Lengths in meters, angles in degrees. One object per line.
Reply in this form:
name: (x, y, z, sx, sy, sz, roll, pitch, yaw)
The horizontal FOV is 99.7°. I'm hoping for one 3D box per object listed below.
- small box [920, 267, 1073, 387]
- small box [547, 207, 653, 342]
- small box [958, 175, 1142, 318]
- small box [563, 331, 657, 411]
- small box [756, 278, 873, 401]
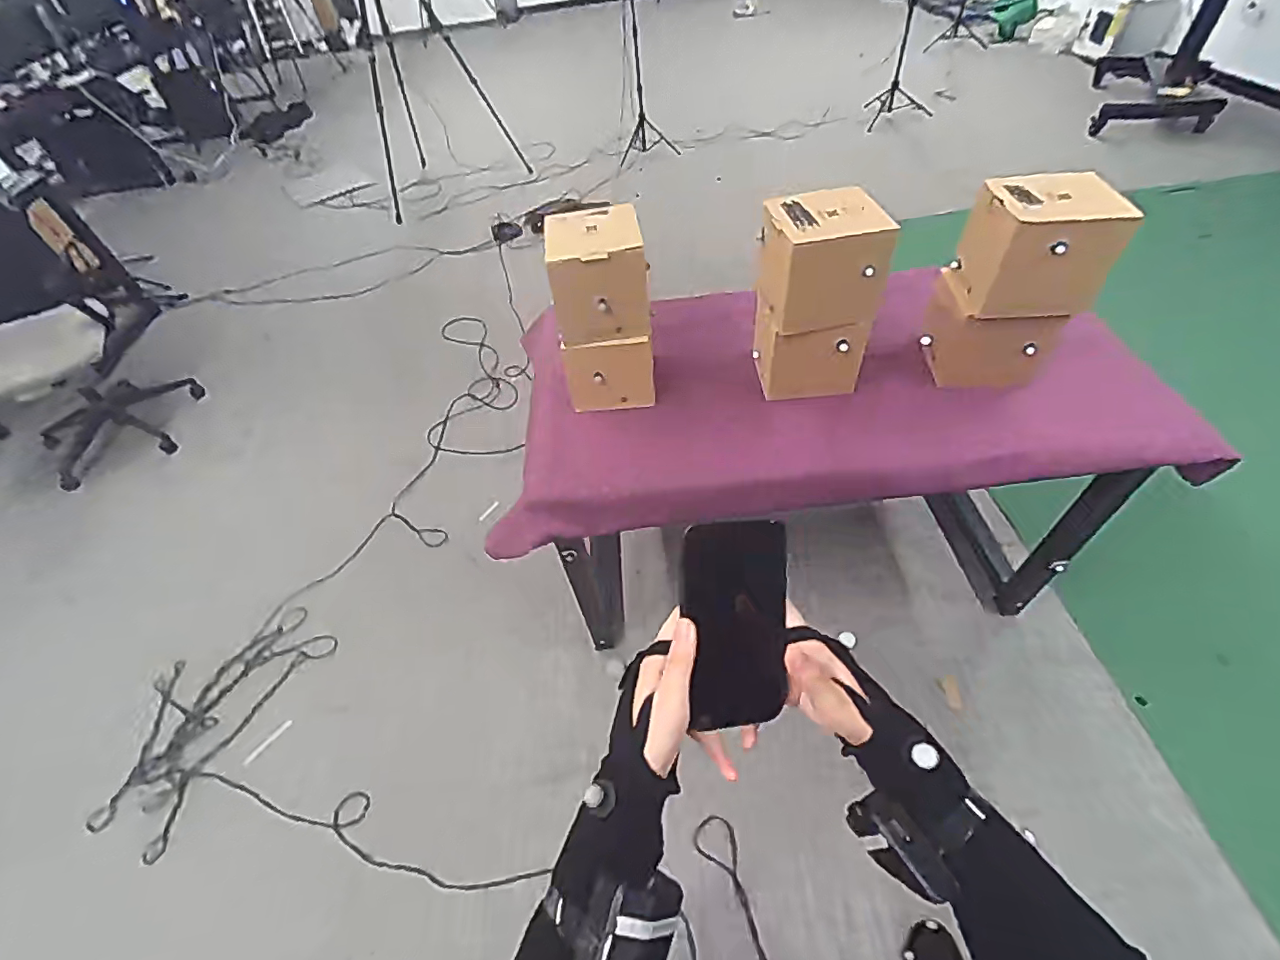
small box: (0.673, -0.294, 1.047, 0.179, 0.176, 0.168, 0, 49, 8)
small box: (-0.071, -0.368, 0.993, 0.168, 0.176, 0.179, -8, 50, 0)
small box: (0.666, -0.389, 0.913, 0.179, 0.176, 0.168, 0, 49, 7)
small box: (-0.054, -0.256, 1.112, 0.168, 0.176, 0.179, -5, 49, 4)
small box: (0.334, -0.276, 1.075, 0.179, 0.176, 0.168, -5, 49, 3)
